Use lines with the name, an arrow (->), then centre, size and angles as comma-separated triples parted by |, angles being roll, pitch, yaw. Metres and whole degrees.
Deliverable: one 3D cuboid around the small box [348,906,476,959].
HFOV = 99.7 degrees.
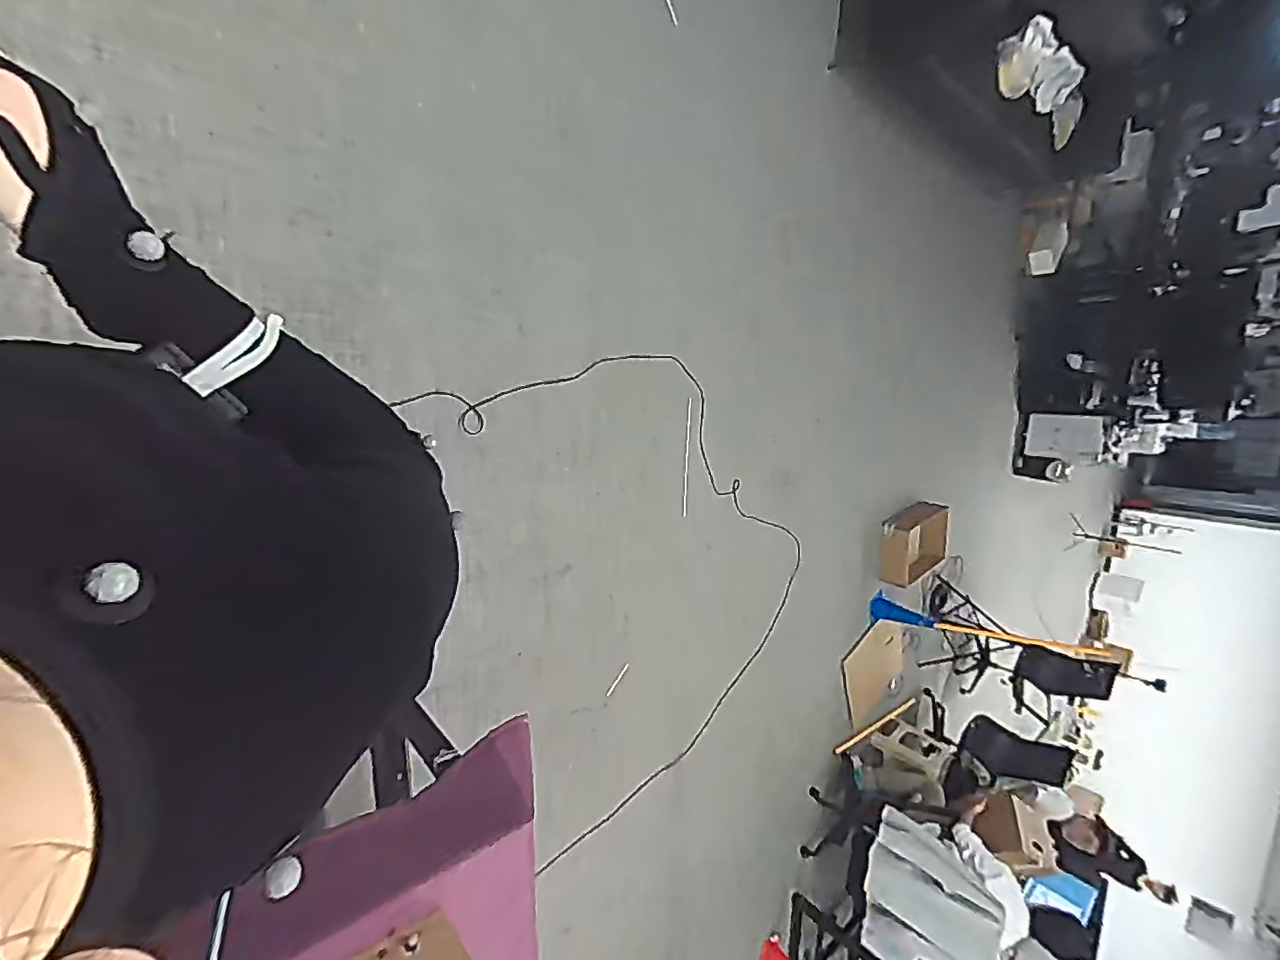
small box -> -0.335, 0.807, 0.808 | 0.168, 0.176, 0.179 | -2, 99, -41
